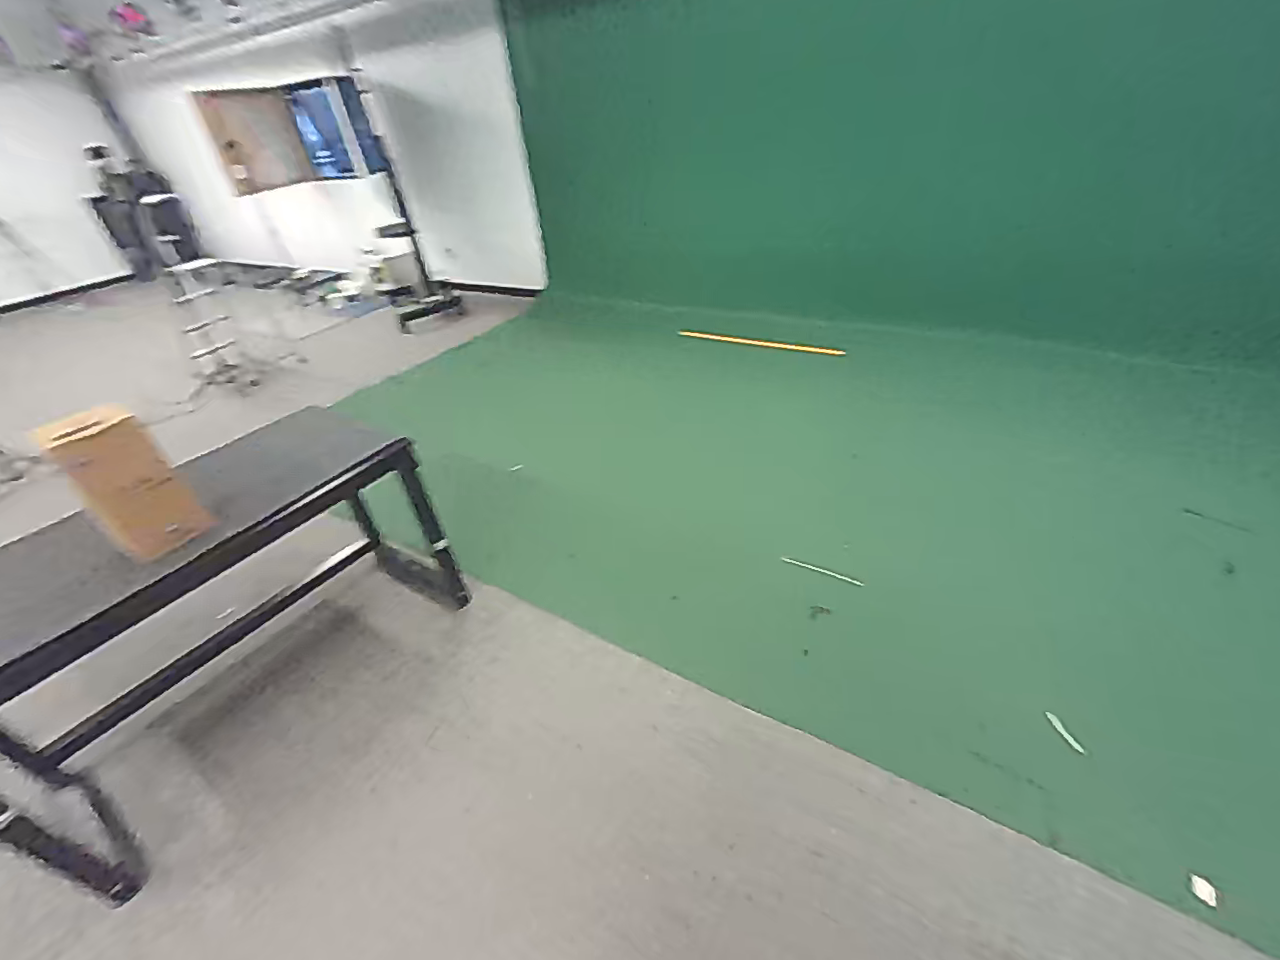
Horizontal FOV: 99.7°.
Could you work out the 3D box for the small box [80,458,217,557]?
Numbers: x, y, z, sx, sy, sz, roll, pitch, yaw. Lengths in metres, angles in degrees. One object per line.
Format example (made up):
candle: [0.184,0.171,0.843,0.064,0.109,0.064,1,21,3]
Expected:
small box: [-1.223,0.069,1.355,0.179,0.176,0.168,14,40,28]
